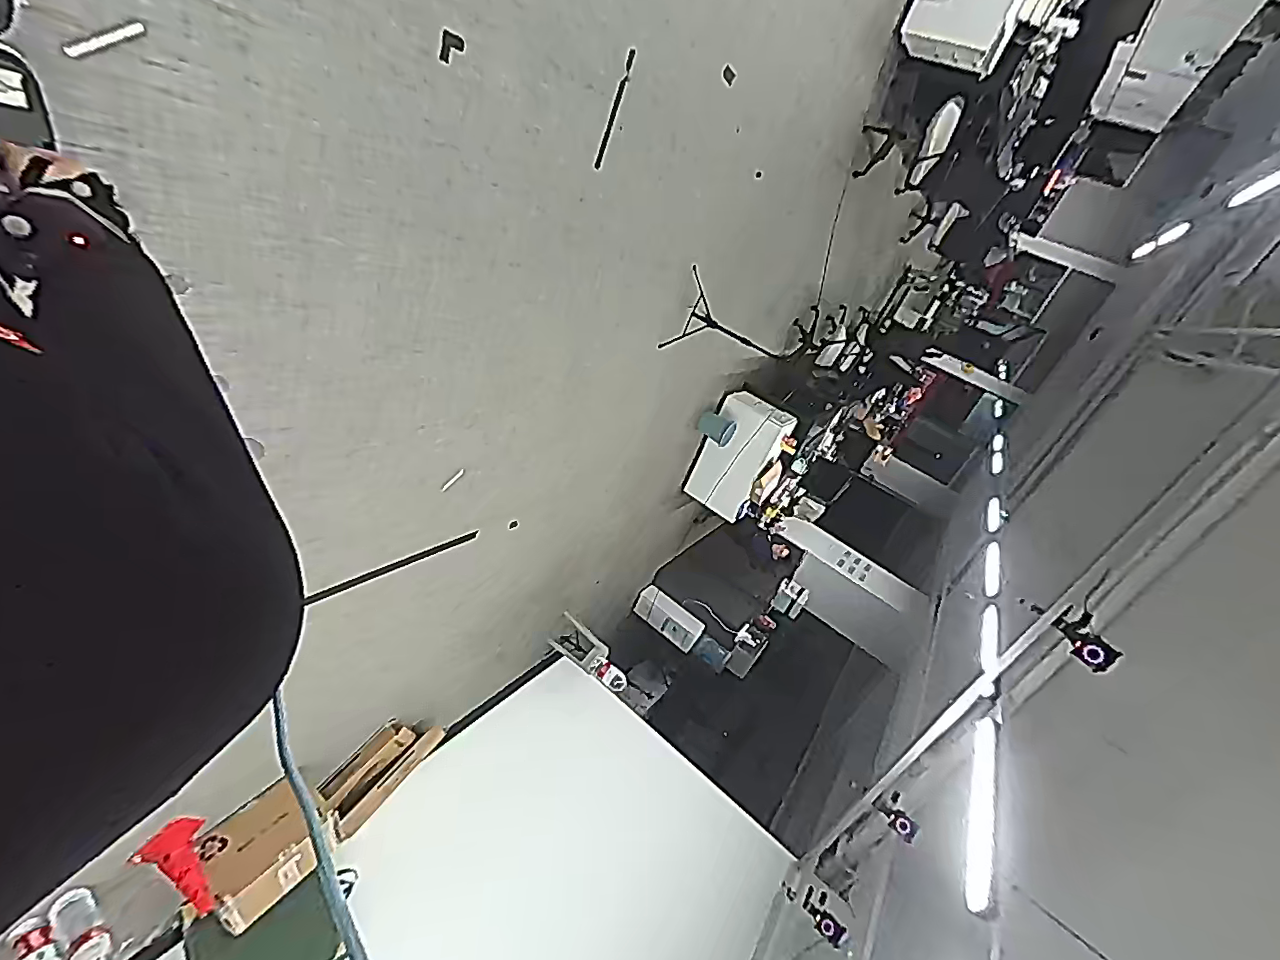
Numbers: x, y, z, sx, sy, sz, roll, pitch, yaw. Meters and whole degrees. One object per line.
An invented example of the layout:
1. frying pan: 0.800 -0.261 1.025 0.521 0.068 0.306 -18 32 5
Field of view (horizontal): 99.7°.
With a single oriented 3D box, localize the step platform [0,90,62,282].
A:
1. step platform: -1.228 -0.460 0.681 0.684 0.204 0.286 -15 133 -57
